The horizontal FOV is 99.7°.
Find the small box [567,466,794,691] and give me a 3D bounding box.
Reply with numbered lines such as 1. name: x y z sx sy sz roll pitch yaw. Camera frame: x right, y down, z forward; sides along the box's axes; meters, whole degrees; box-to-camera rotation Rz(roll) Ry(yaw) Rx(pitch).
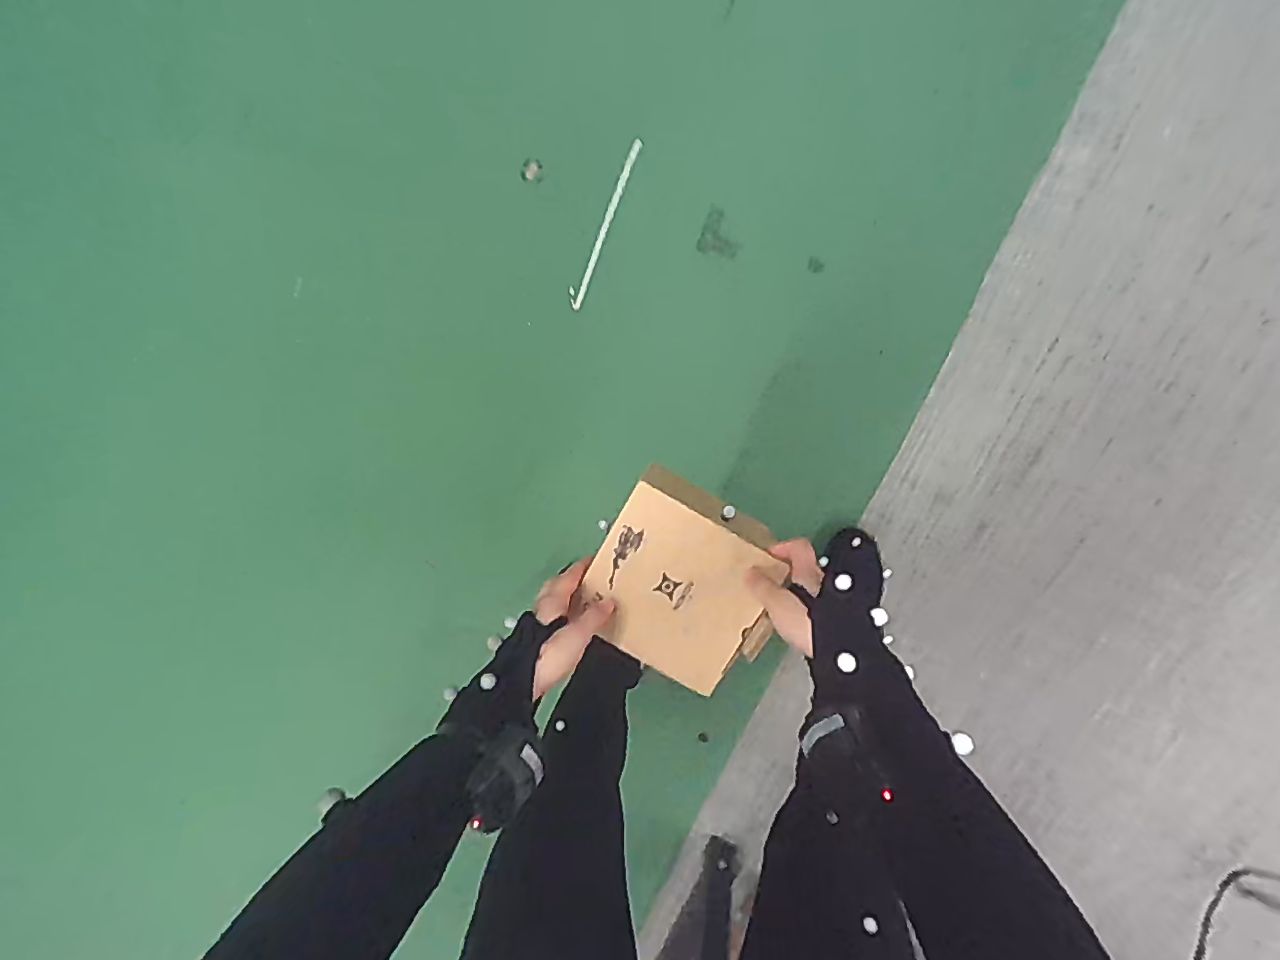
1. small box: 0.045 0.096 0.622 0.179 0.176 0.168 31 99 0

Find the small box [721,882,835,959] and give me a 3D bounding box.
1. small box: 0.274 0.962 1.076 0.179 0.176 0.168 30 102 6
